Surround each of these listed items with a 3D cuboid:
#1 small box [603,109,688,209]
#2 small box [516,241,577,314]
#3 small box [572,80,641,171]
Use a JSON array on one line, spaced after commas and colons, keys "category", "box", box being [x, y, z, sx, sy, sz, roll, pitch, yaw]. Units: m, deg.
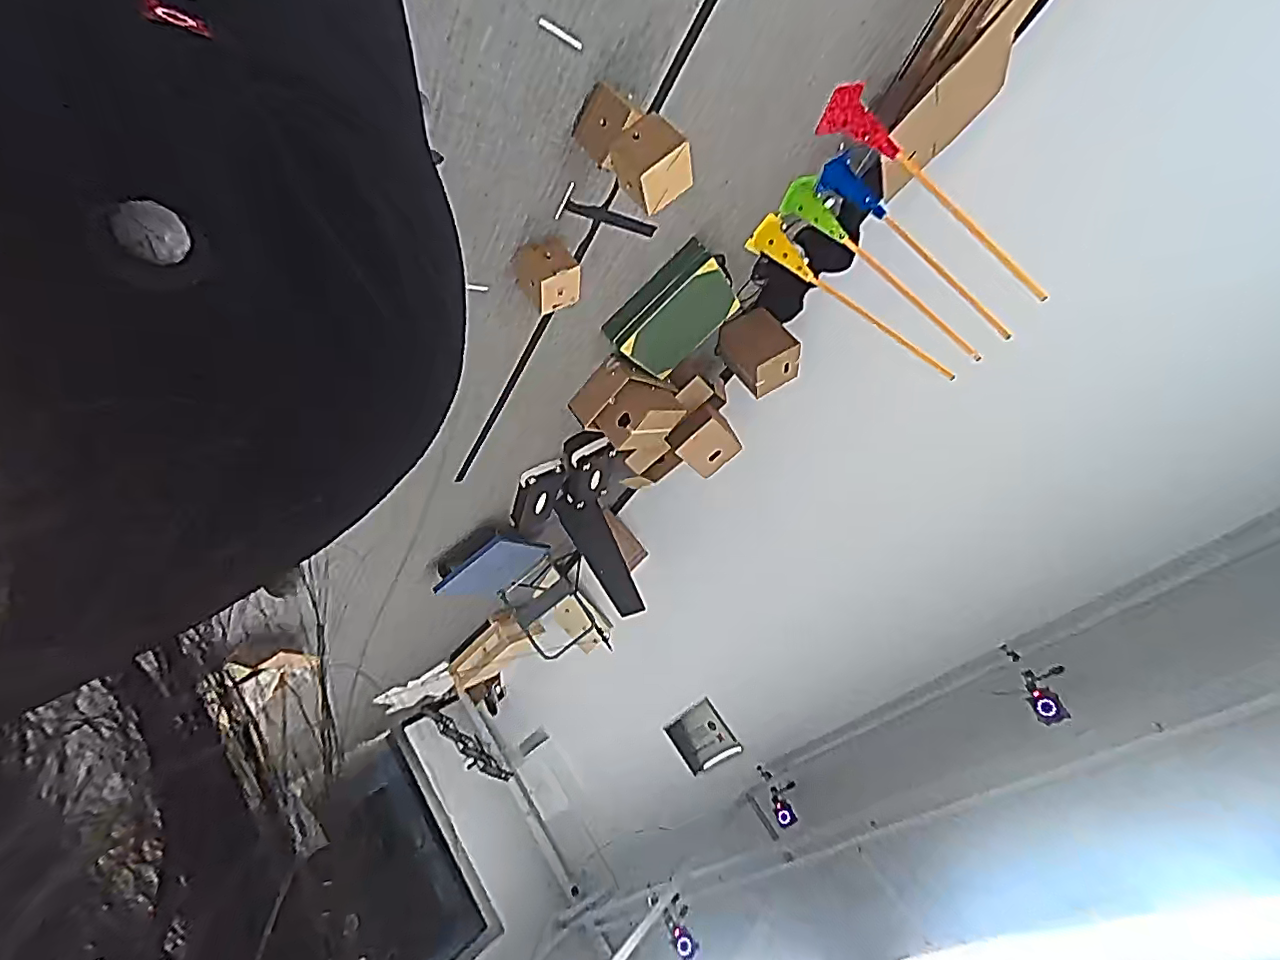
[{"category": "small box", "box": [0.021, -0.959, 1.638, 0.179, 0.176, 0.168, -39, 163, -1]}, {"category": "small box", "box": [-0.346, -0.754, 1.995, 0.168, 0.176, 0.179, -29, 160, -22]}, {"category": "small box", "box": [-0.085, -1.083, 1.678, 0.168, 0.176, 0.179, -15, 151, -52]}]
